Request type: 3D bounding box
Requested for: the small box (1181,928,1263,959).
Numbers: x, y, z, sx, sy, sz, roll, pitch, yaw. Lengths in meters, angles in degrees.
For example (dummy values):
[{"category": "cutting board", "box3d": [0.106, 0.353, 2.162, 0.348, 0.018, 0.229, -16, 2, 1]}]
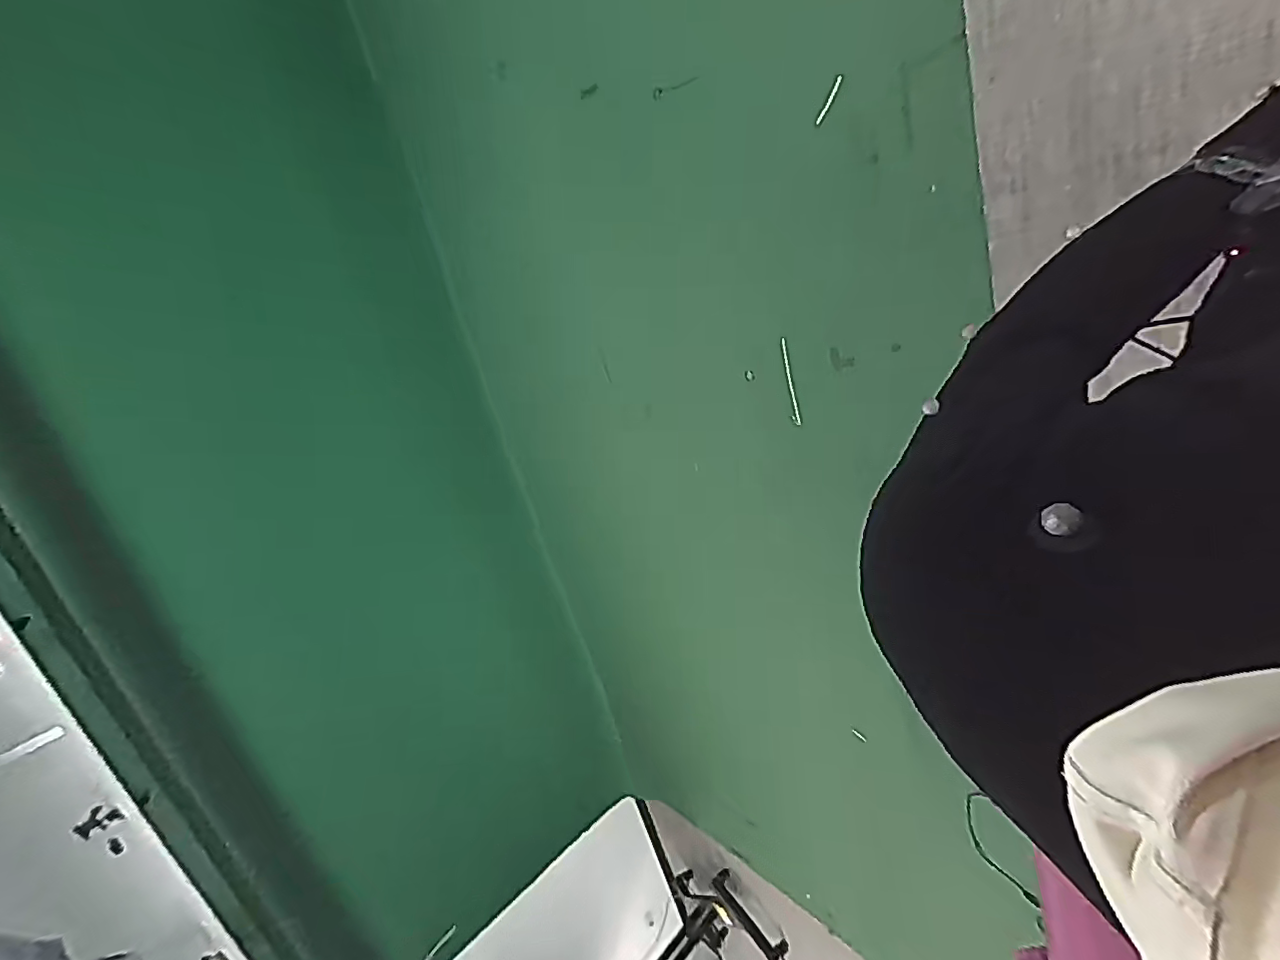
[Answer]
[{"category": "small box", "box3d": [0.918, 0.834, 0.799, 0.179, 0.176, 0.168, 8, 120, 48]}]
